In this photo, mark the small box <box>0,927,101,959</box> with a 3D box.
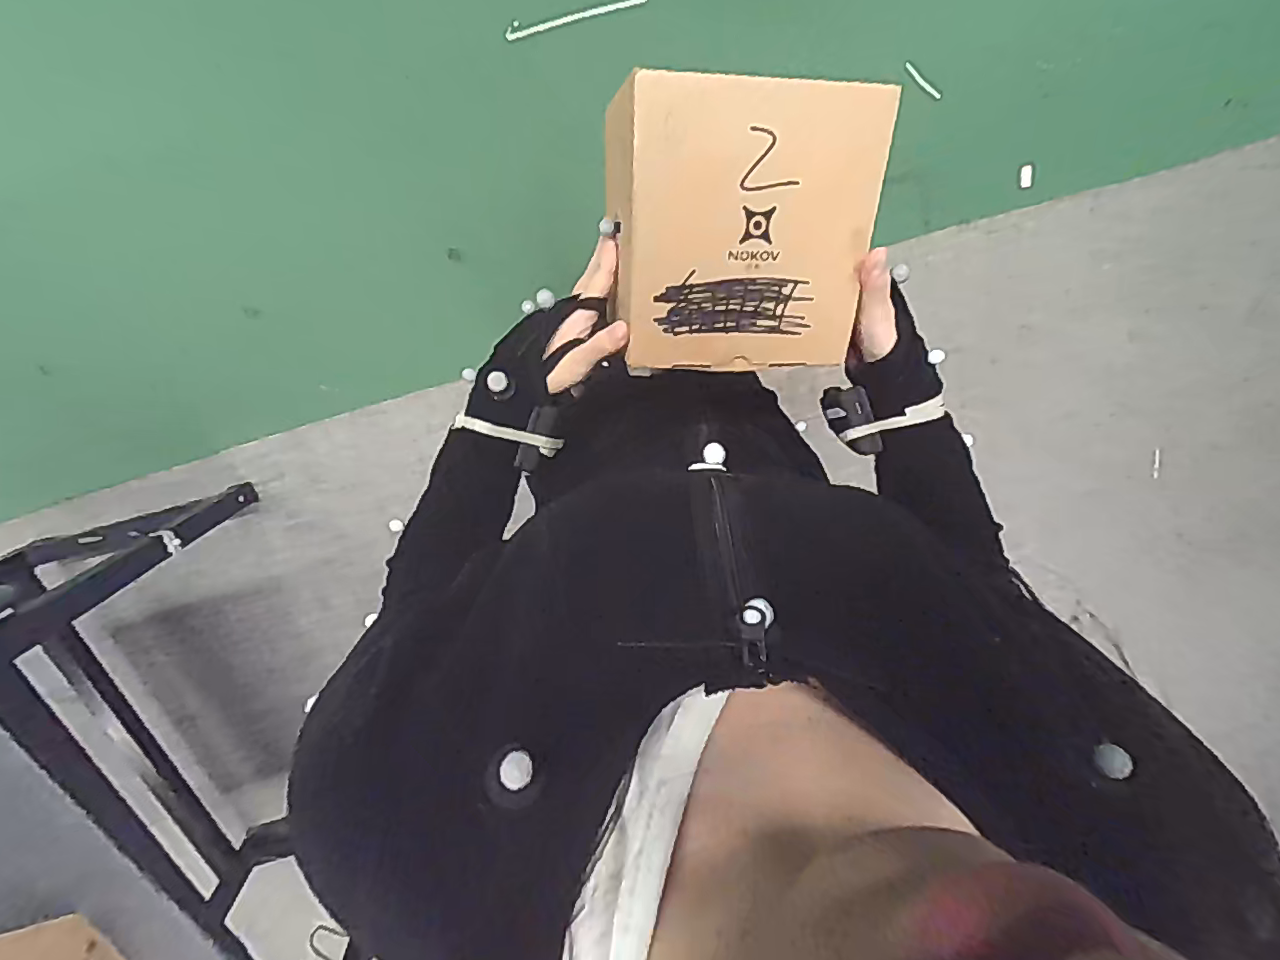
[{"bbox_3d":[-0.970,0.829,0.812,0.179,0.176,0.168,-16,111,-1],"label":"small box"}]
